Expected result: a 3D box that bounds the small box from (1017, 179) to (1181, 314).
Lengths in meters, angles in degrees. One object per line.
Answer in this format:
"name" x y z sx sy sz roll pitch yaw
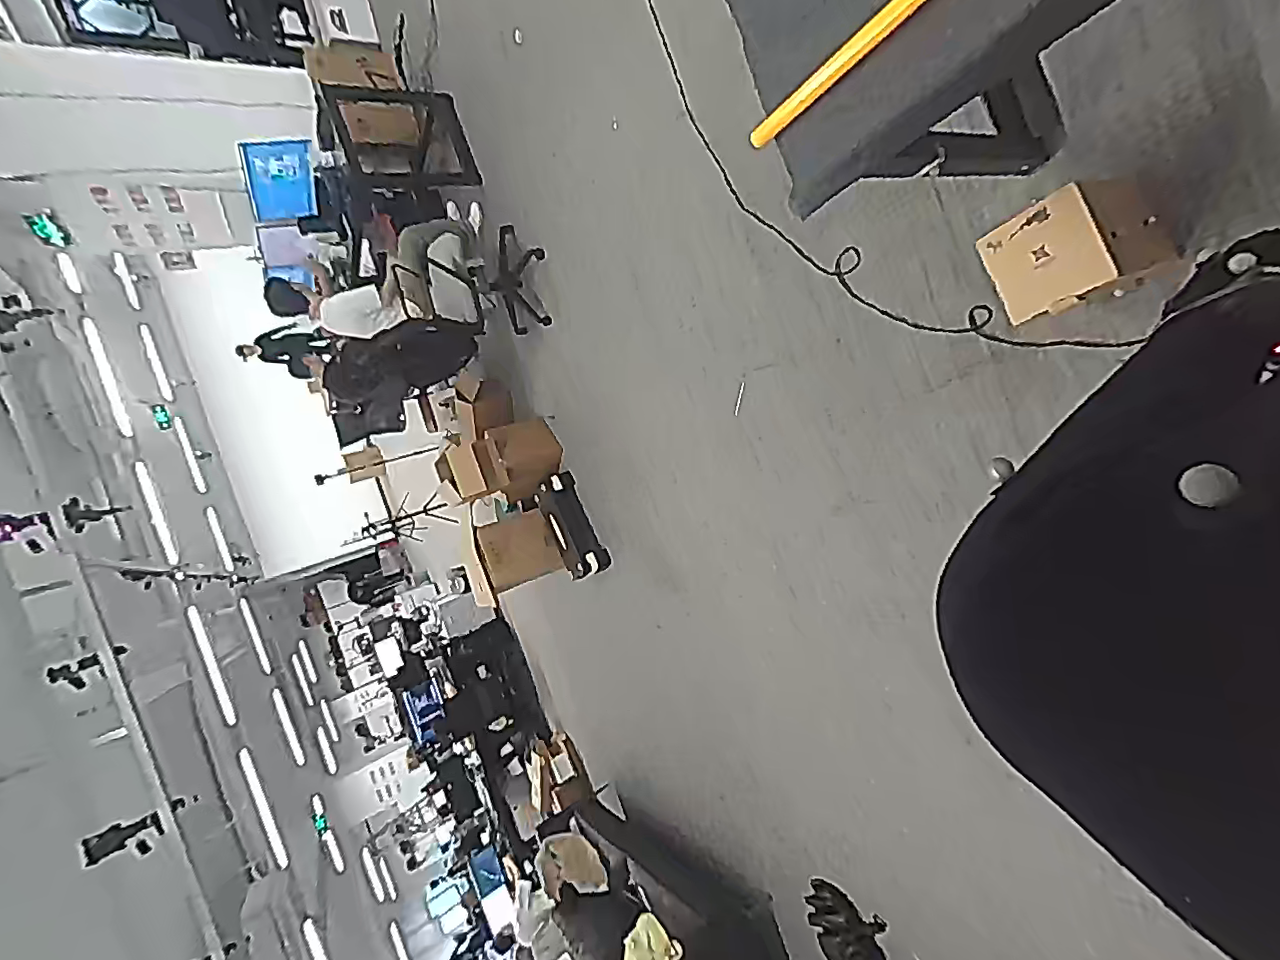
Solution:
"small box" 0.888 -0.450 1.049 0.168 0.176 0.179 -33 79 59
